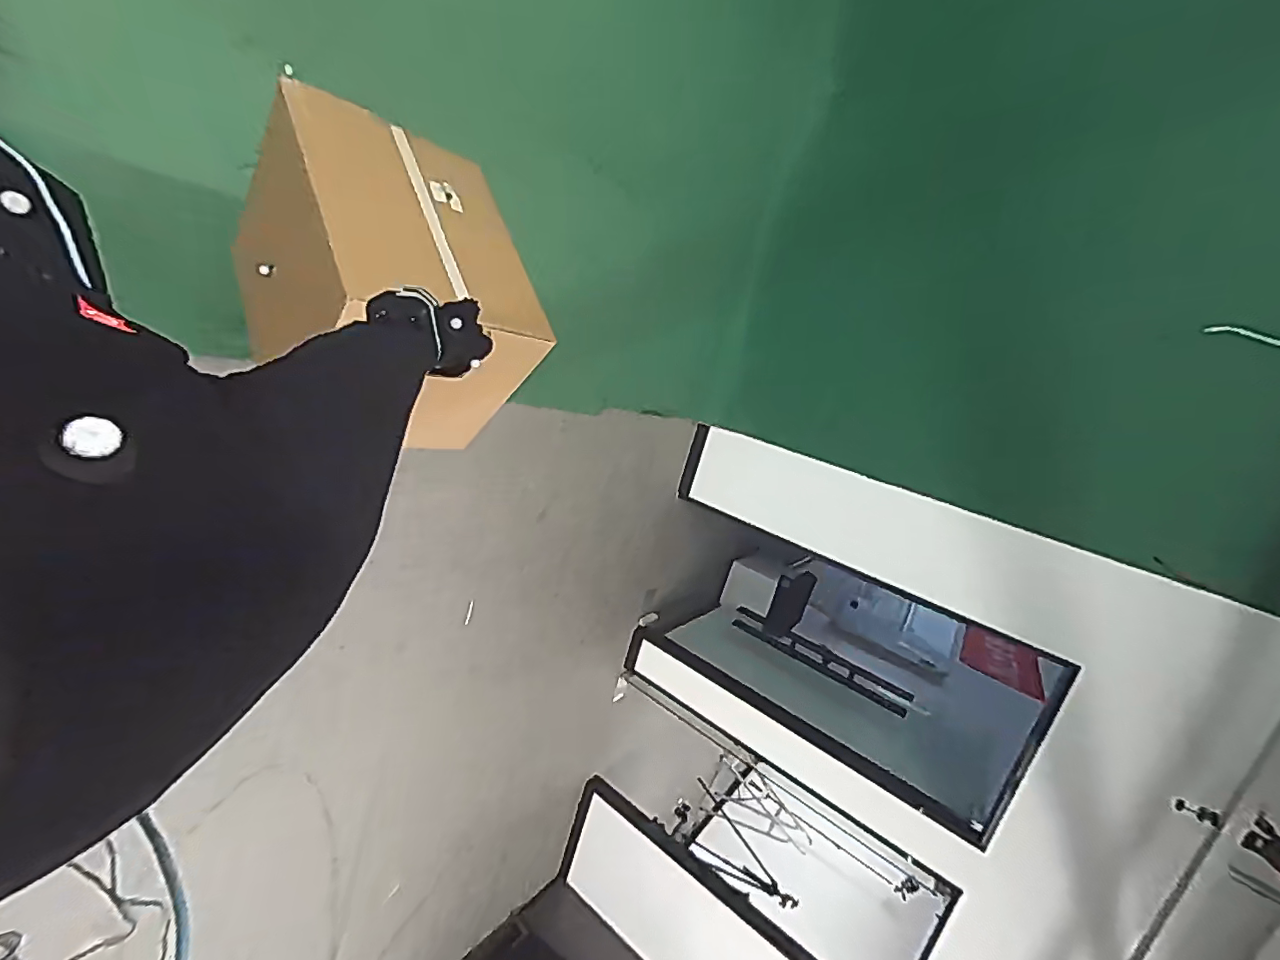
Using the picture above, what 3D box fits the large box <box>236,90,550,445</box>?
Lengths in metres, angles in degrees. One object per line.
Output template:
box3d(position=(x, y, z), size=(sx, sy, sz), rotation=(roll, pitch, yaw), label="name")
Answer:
box3d(position=(-0.416, -0.303, 0.889), size=(0.320, 0.408, 0.320), rotation=(-39, 158, 34), label="large box")
